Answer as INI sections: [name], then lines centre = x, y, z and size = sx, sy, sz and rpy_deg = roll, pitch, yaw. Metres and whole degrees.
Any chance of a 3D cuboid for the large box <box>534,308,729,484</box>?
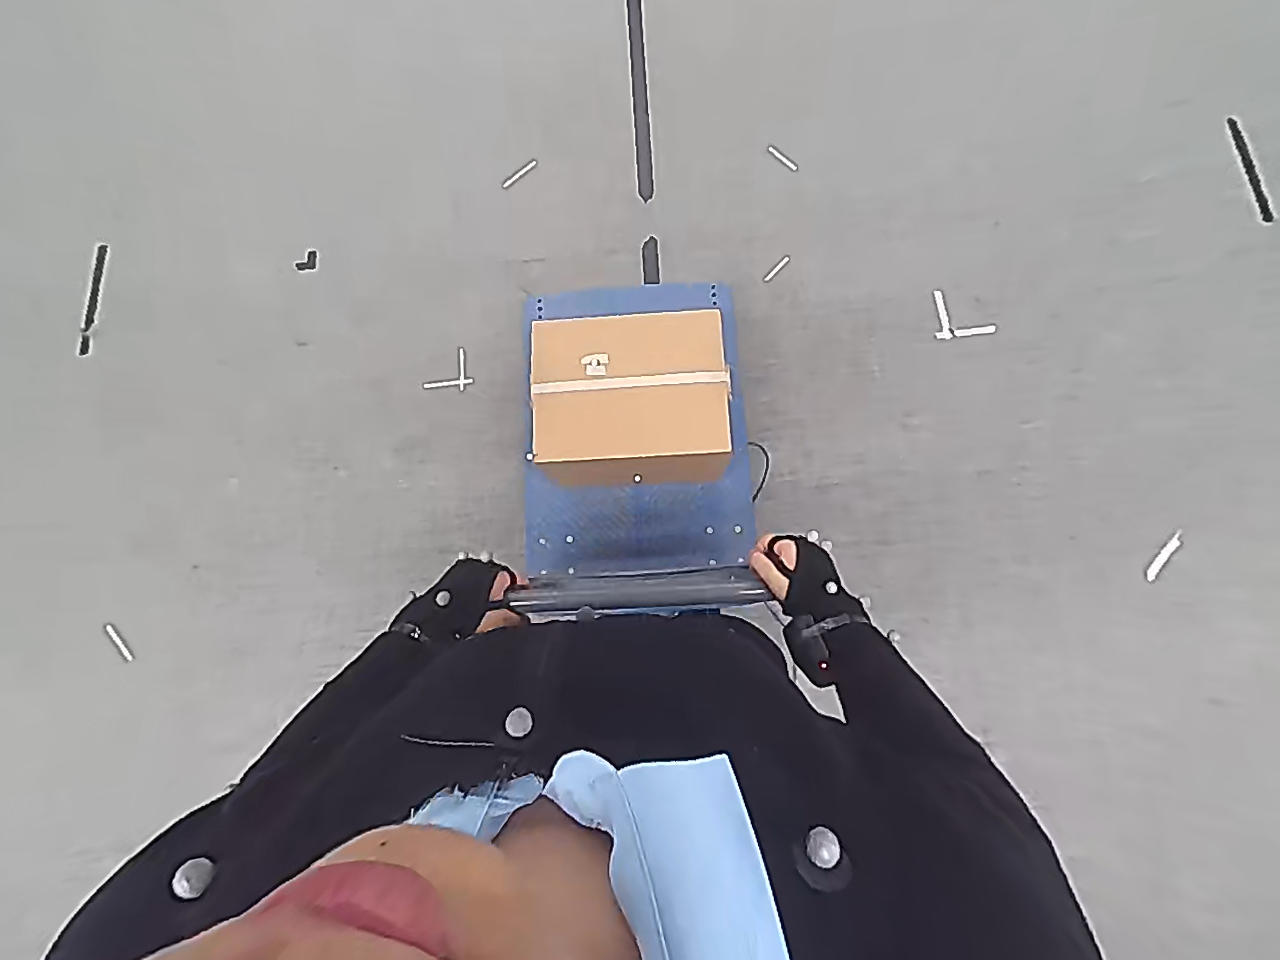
[large box]
centre = -0.013, -0.176, 1.282
size = 0.408, 0.320, 0.320
rpy_deg = -4, 78, 4
